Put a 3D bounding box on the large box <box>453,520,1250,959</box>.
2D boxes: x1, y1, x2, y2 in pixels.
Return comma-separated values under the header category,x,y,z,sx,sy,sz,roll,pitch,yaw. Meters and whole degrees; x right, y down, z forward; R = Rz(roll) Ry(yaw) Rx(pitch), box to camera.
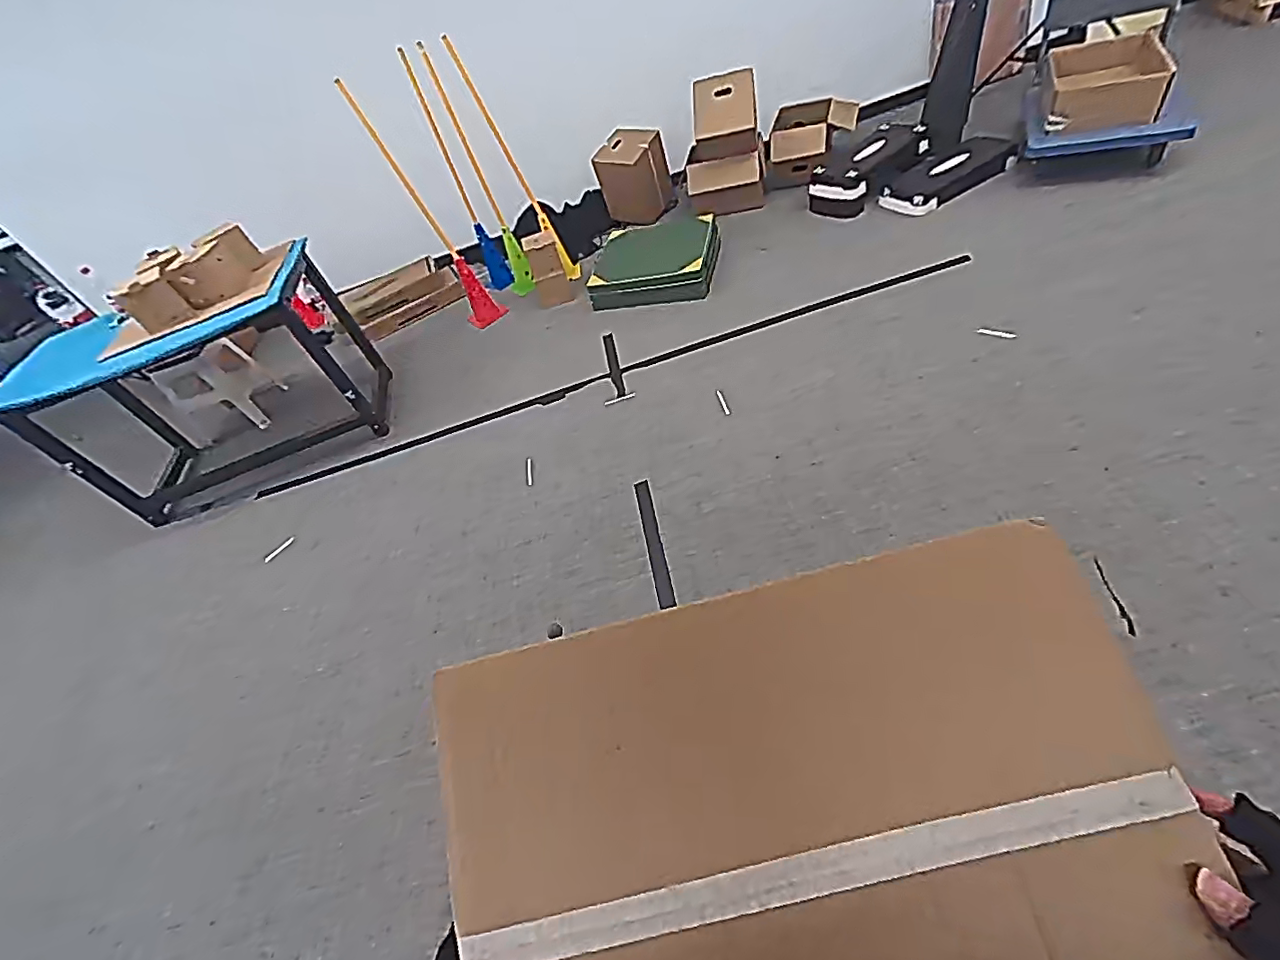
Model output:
category,x,y,z,sx,sy,sz,roll,pitch,yaw
large box,0.115,0.266,0.450,0.408,0.320,0.320,-16,71,3
